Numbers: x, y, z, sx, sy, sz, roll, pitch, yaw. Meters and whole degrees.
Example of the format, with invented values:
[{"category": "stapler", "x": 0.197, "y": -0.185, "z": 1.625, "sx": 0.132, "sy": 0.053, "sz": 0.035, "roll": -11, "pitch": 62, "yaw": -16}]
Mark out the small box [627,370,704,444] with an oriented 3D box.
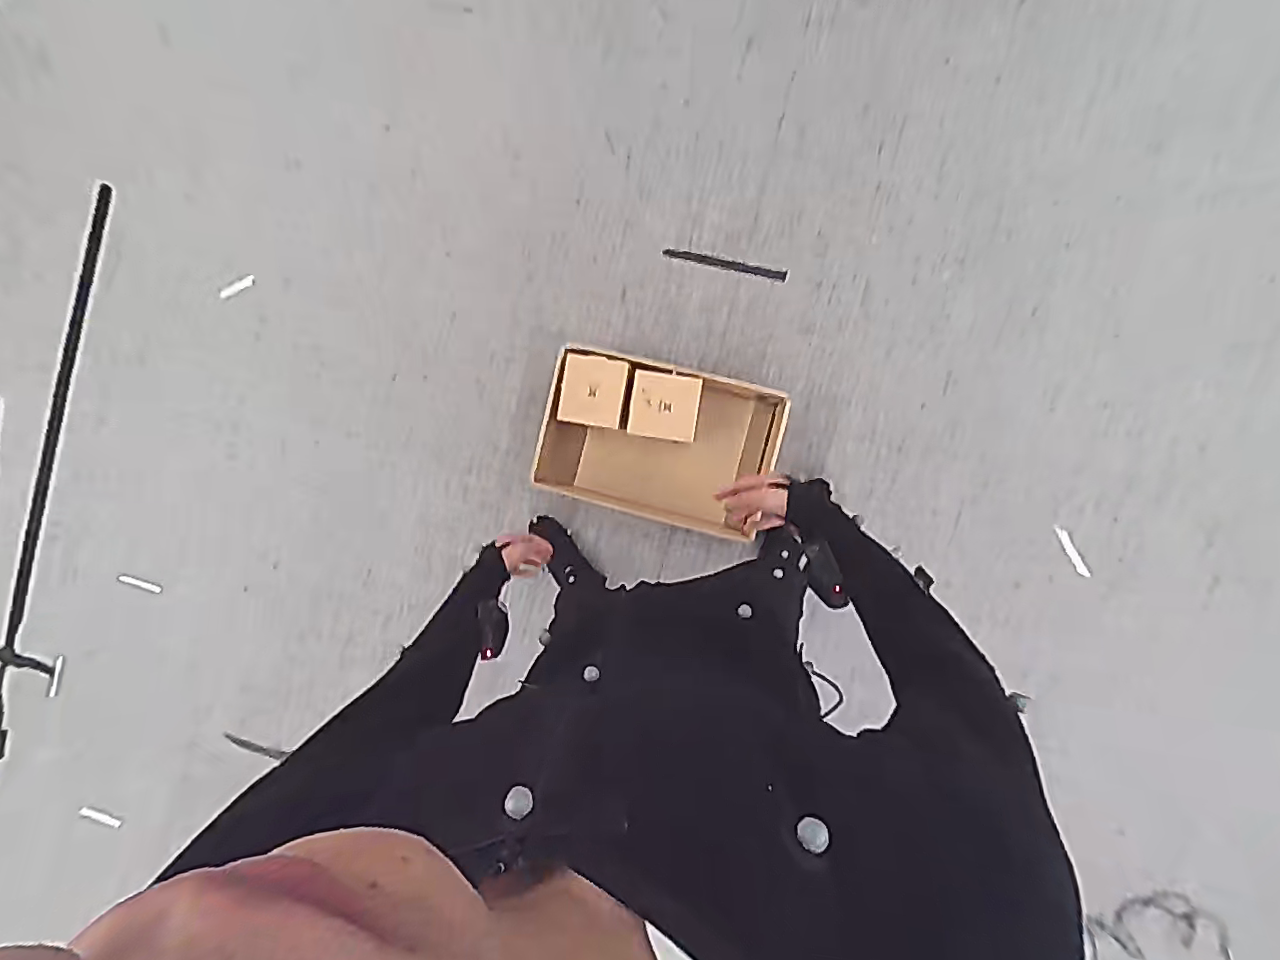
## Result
[{"category": "small box", "x": 0.069, "y": -0.192, "z": 1.450, "sx": 0.179, "sy": 0.176, "sz": 0.168, "roll": 9, "pitch": 93, "yaw": 4}]
